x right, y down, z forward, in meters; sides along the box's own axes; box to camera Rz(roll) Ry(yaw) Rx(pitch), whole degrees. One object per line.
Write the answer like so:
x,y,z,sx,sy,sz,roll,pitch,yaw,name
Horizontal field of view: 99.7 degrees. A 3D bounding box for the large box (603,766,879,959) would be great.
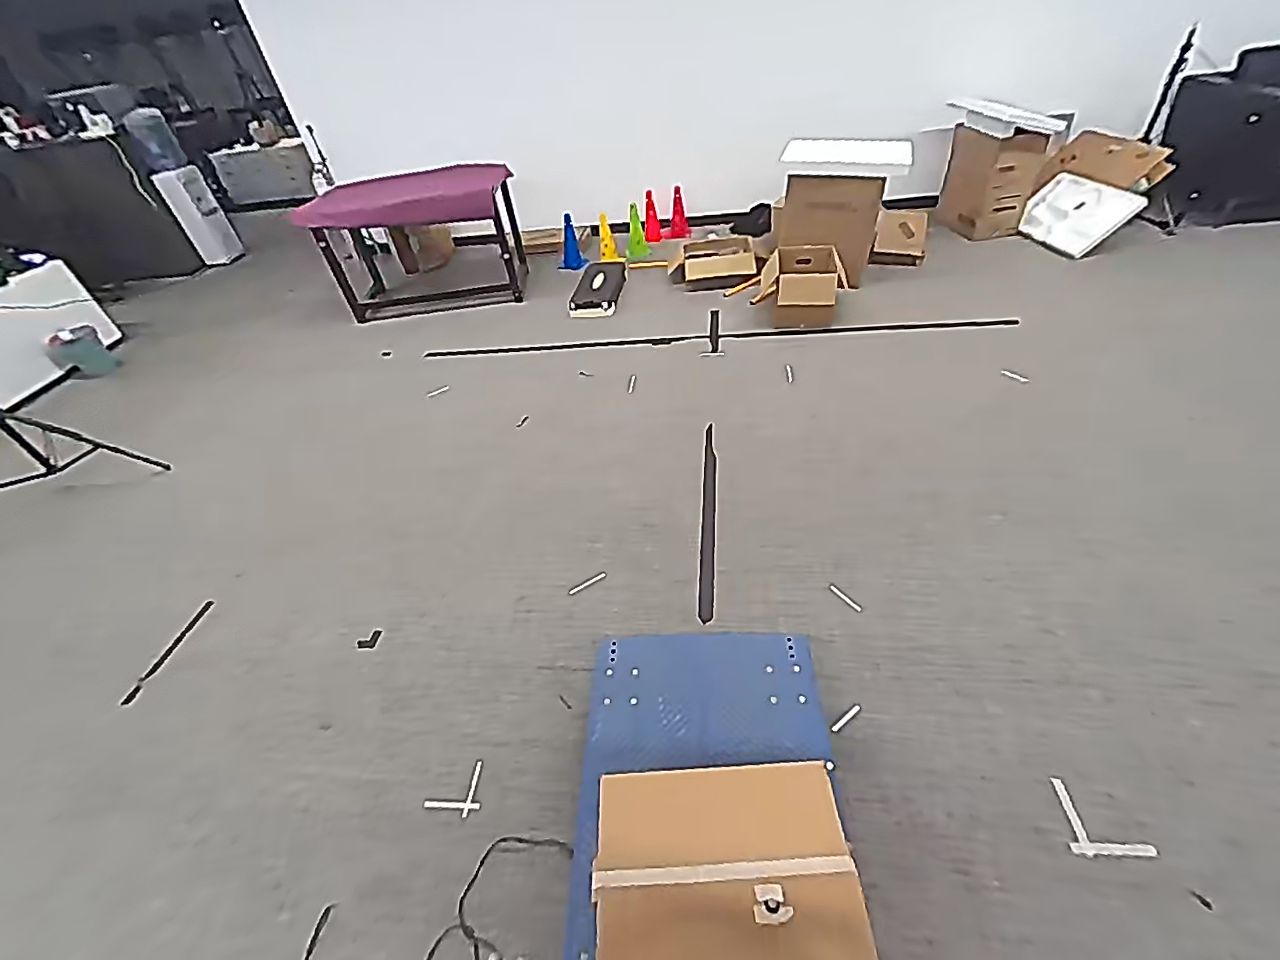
0.150,0.742,0.953,0.408,0.320,0.320,-5,42,2,large box
